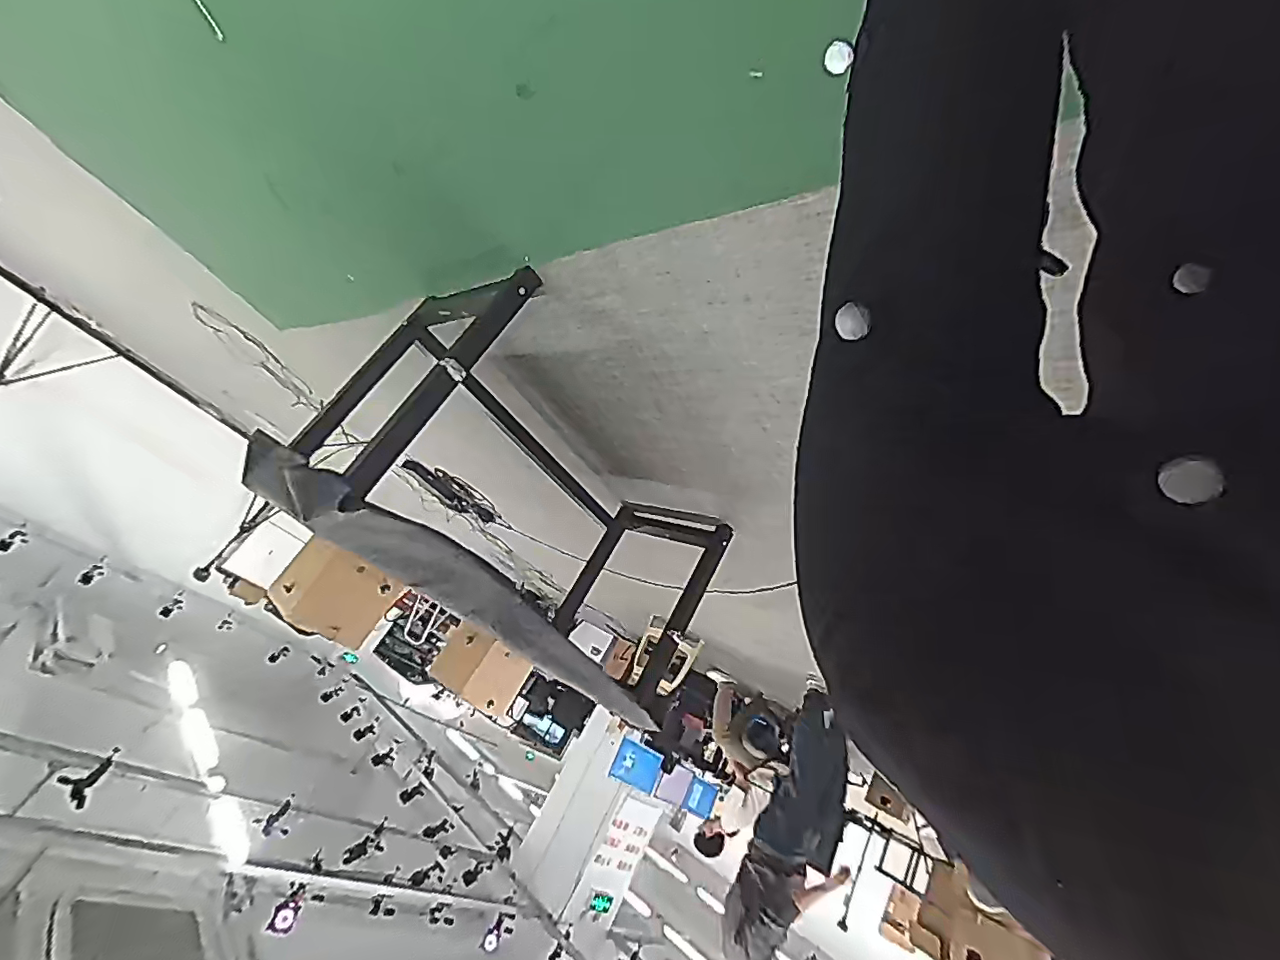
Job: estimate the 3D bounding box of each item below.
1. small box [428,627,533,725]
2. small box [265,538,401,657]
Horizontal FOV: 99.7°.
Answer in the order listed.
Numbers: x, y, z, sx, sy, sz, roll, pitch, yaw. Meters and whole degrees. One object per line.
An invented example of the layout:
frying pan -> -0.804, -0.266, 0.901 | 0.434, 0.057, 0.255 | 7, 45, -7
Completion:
small box -> -0.421, 0.517, 1.446 | 0.179, 0.176, 0.168 | 10, 150, 45
small box -> -0.644, 0.244, 1.151 | 0.179, 0.176, 0.168 | 11, 151, 45
